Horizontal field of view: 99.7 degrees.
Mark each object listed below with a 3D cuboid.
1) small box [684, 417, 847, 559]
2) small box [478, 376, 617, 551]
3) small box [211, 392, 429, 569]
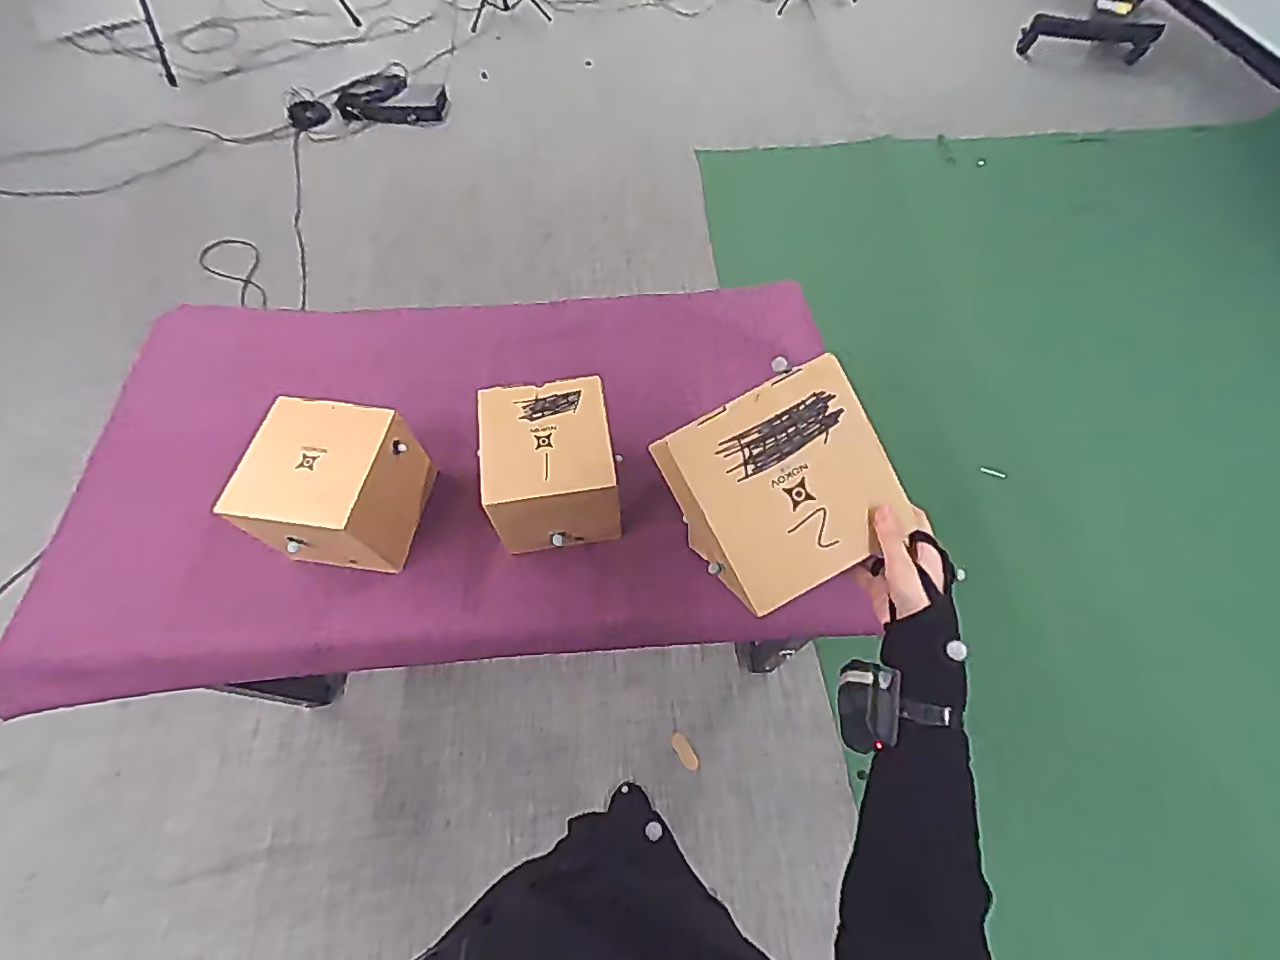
[{"bbox_3d":[0.151,0.011,0.709,0.179,0.176,0.168,-2,89,-2],"label":"small box"},{"bbox_3d":[-0.123,-0.018,0.754,0.168,0.176,0.179,-7,62,-4],"label":"small box"},{"bbox_3d":[-0.413,0.007,0.738,0.168,0.176,0.179,8,61,4],"label":"small box"}]
